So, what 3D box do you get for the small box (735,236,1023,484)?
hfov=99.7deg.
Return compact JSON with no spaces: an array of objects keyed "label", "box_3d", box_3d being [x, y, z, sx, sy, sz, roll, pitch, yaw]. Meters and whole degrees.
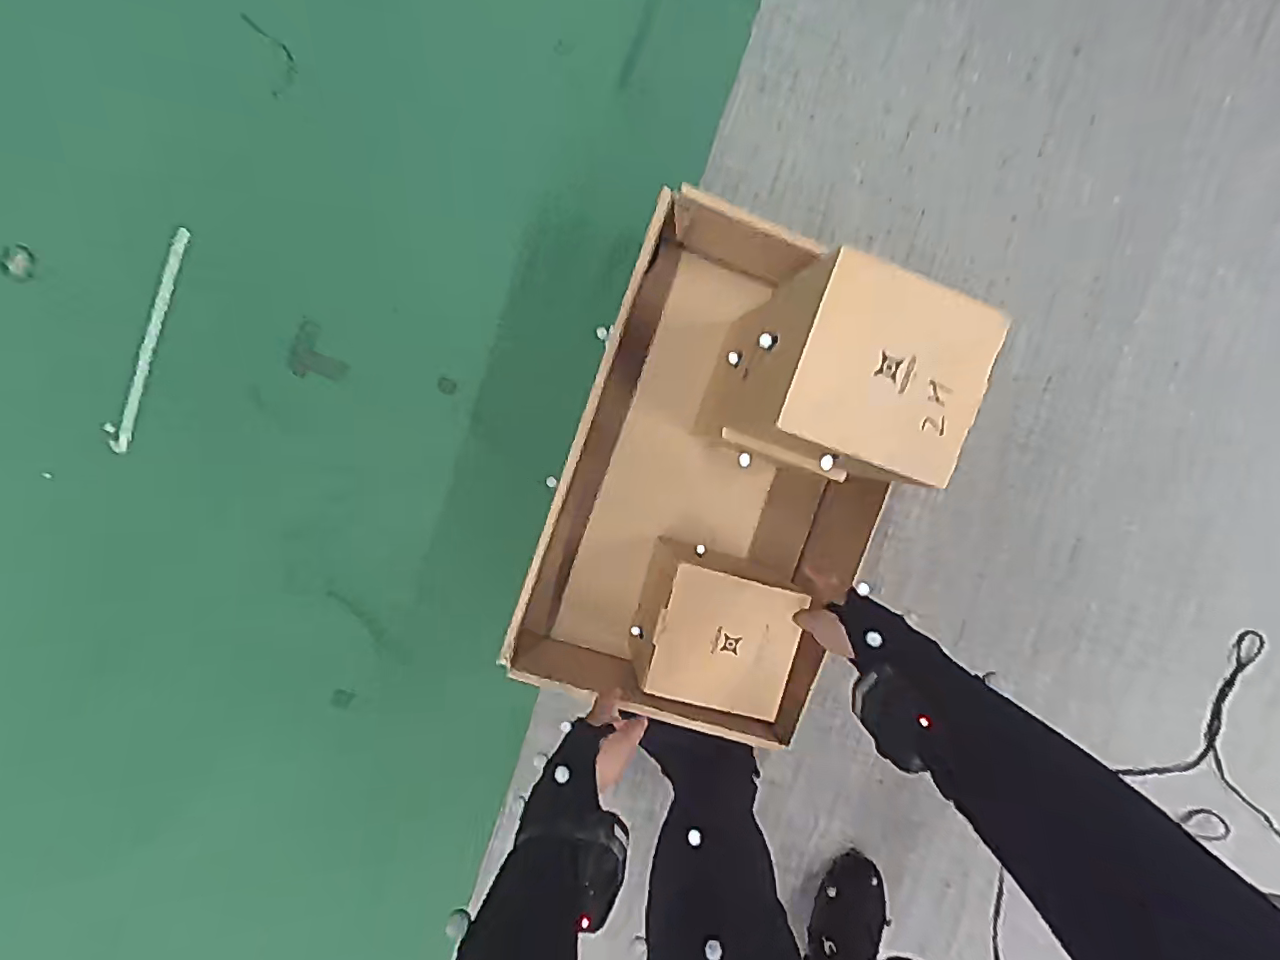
[{"label":"small box","box_3d":[0.215,-0.106,0.537,0.179,0.176,0.168,19,94,-9]}]
